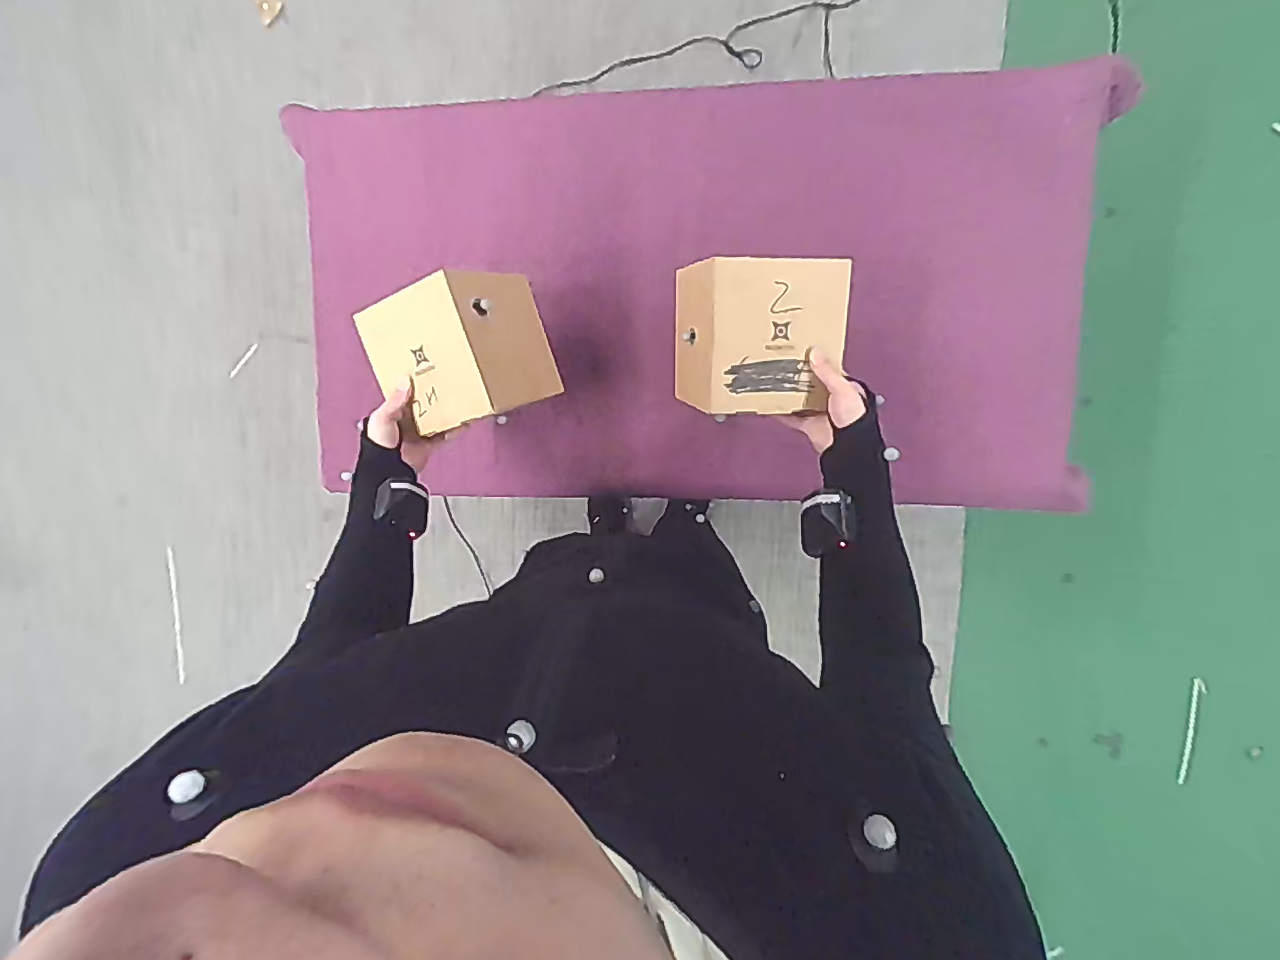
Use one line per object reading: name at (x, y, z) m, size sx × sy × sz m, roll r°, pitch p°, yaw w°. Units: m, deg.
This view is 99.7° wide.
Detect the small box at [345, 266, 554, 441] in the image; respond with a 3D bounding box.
small box at (-0.244, -0.169, 0.727) m, size 0.168 × 0.176 × 0.179 m, roll -12°, pitch 103°, yaw 27°
